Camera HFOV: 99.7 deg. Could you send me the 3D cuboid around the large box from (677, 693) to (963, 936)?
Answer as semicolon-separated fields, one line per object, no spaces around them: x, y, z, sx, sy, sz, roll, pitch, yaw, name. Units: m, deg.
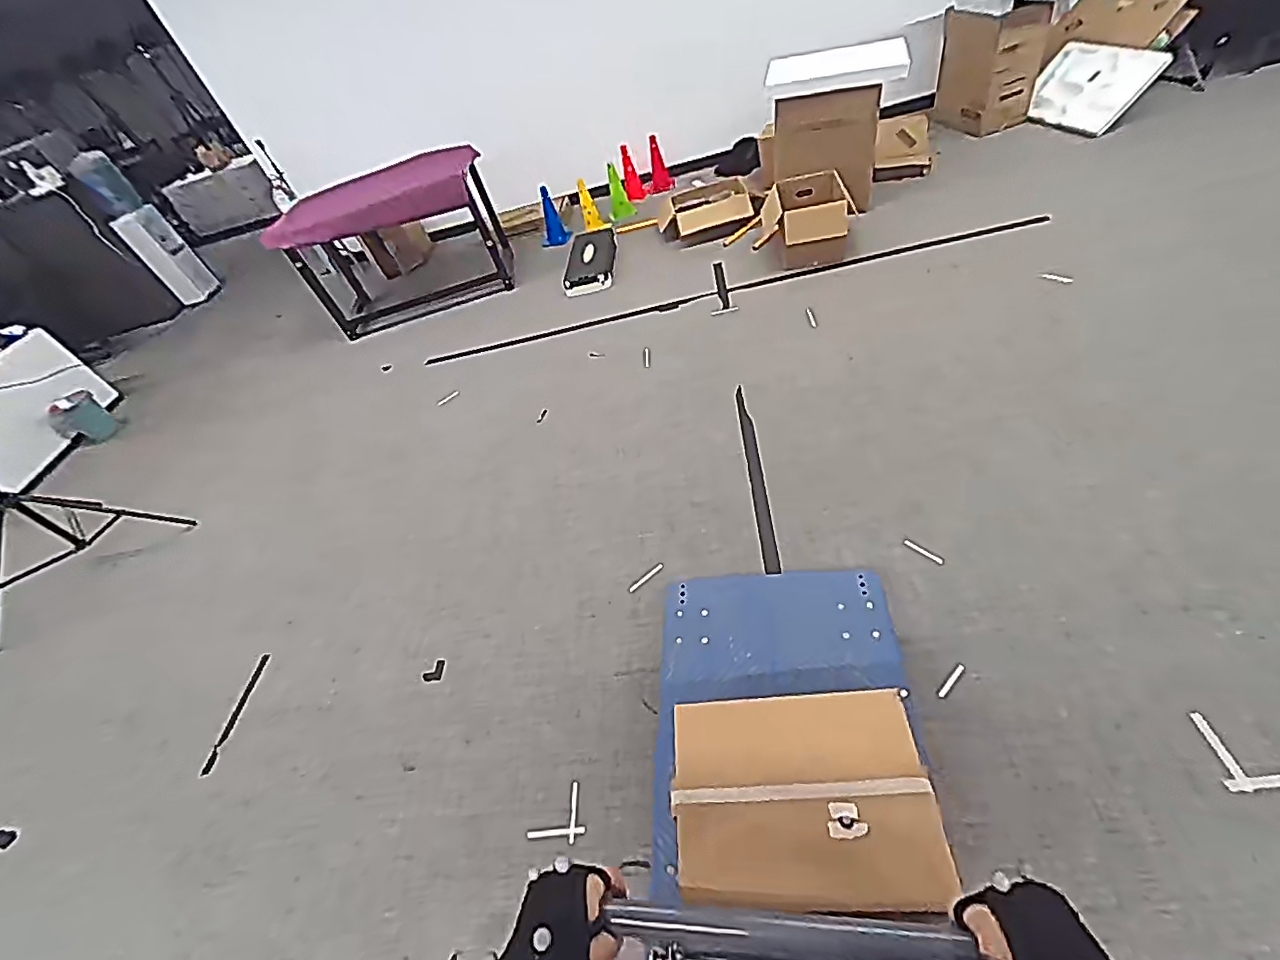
0.293;0.619;0.992;0.408;0.320;0.320;-8;46;10;large box
